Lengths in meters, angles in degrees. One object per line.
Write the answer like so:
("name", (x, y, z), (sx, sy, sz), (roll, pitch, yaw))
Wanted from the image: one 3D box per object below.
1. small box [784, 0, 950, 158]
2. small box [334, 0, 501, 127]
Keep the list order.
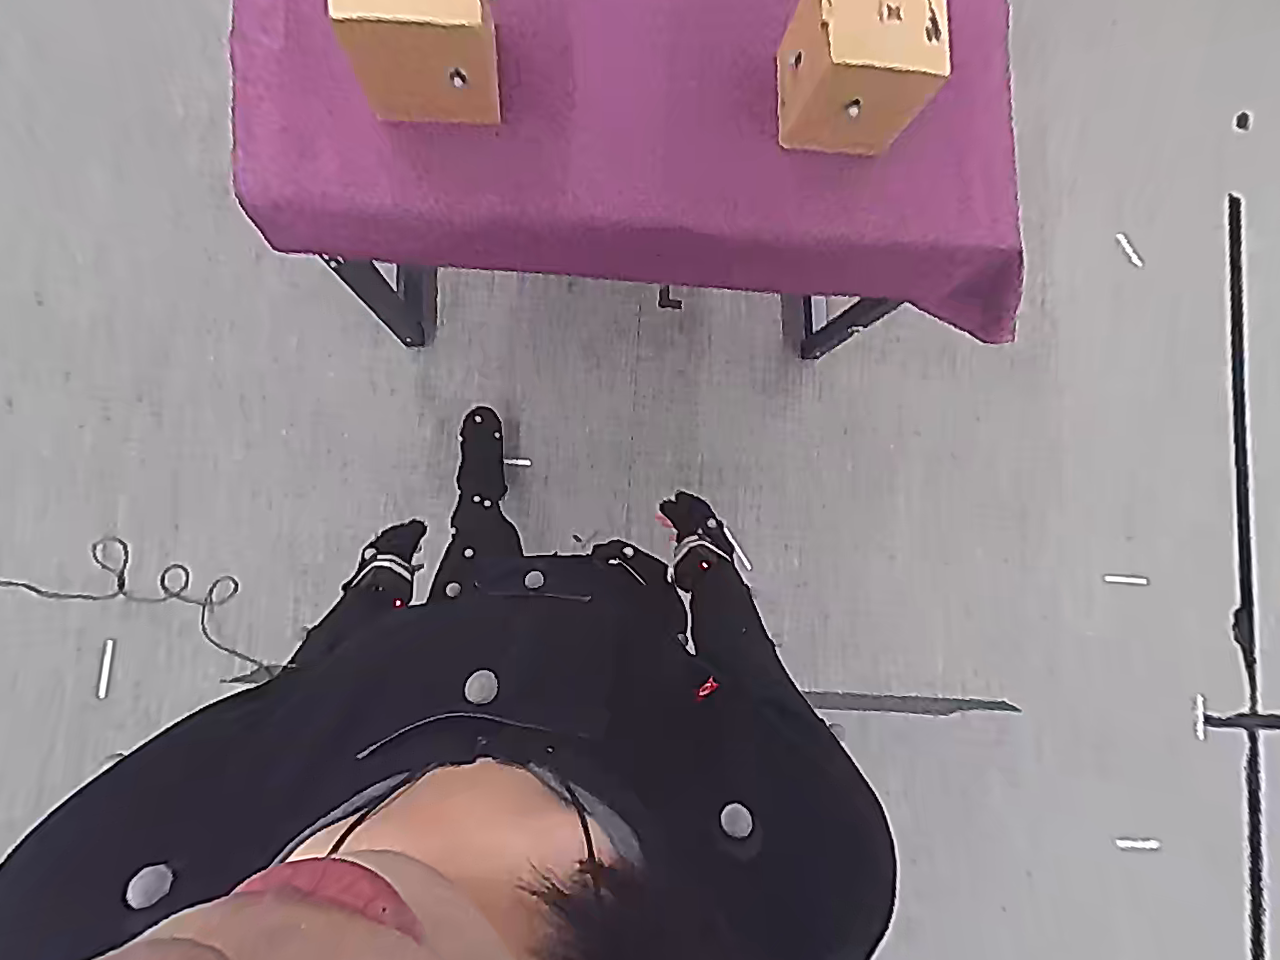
("small box", (0.321, -0.611, 0.801), (0.179, 0.176, 0.168), (0, 85, -6))
("small box", (-0.284, -0.606, 0.722), (0.179, 0.176, 0.168), (-4, 85, -7))
